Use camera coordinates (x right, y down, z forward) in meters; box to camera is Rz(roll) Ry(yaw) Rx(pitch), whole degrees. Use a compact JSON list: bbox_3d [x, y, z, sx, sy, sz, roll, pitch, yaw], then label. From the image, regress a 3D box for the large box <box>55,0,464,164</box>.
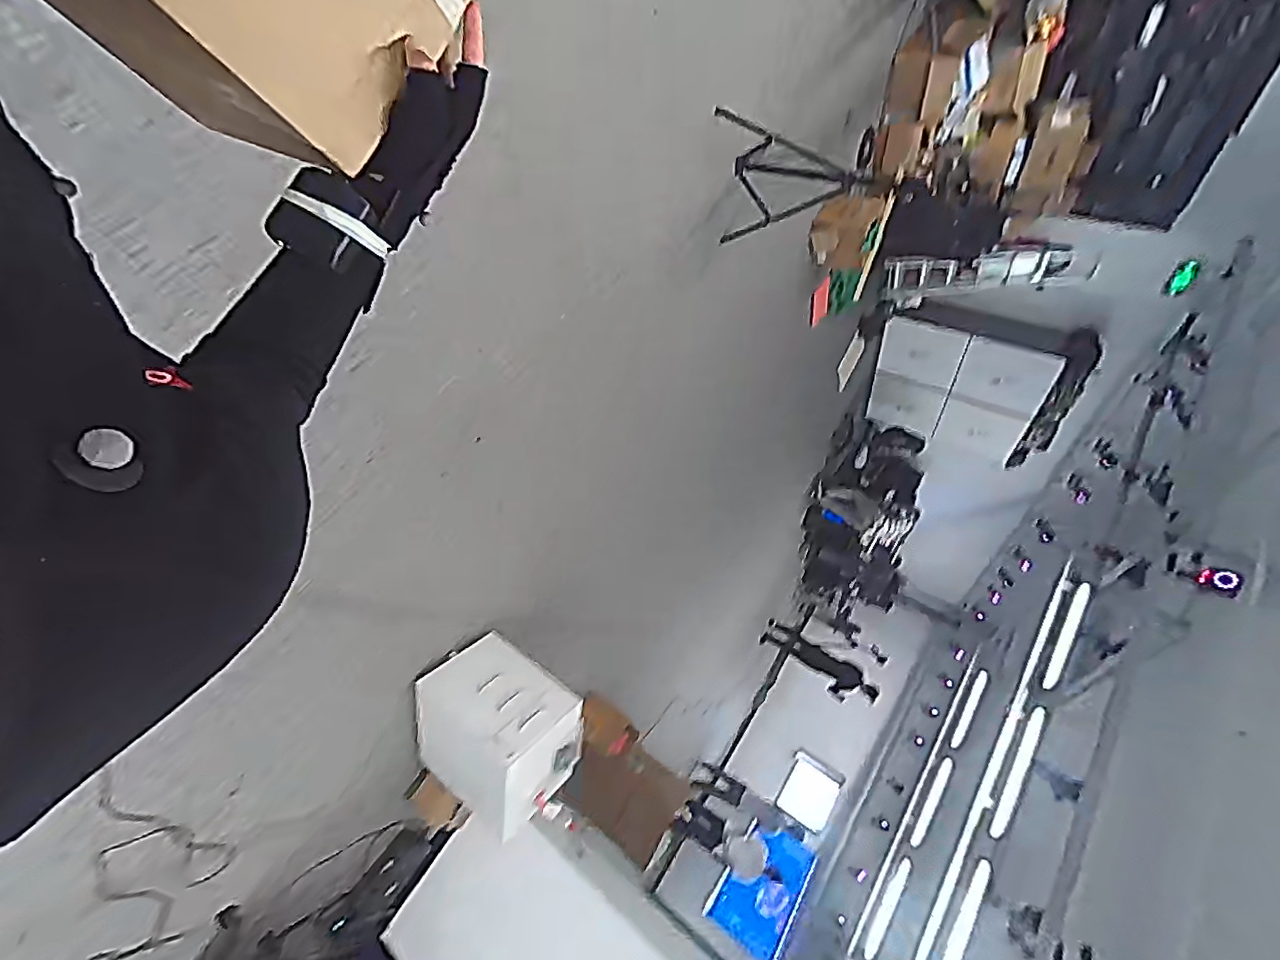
[{"bbox_3d":[-0.349,-0.502,0.344,0.320,0.320,0.408,-58,152,-2],"label":"large box"}]
